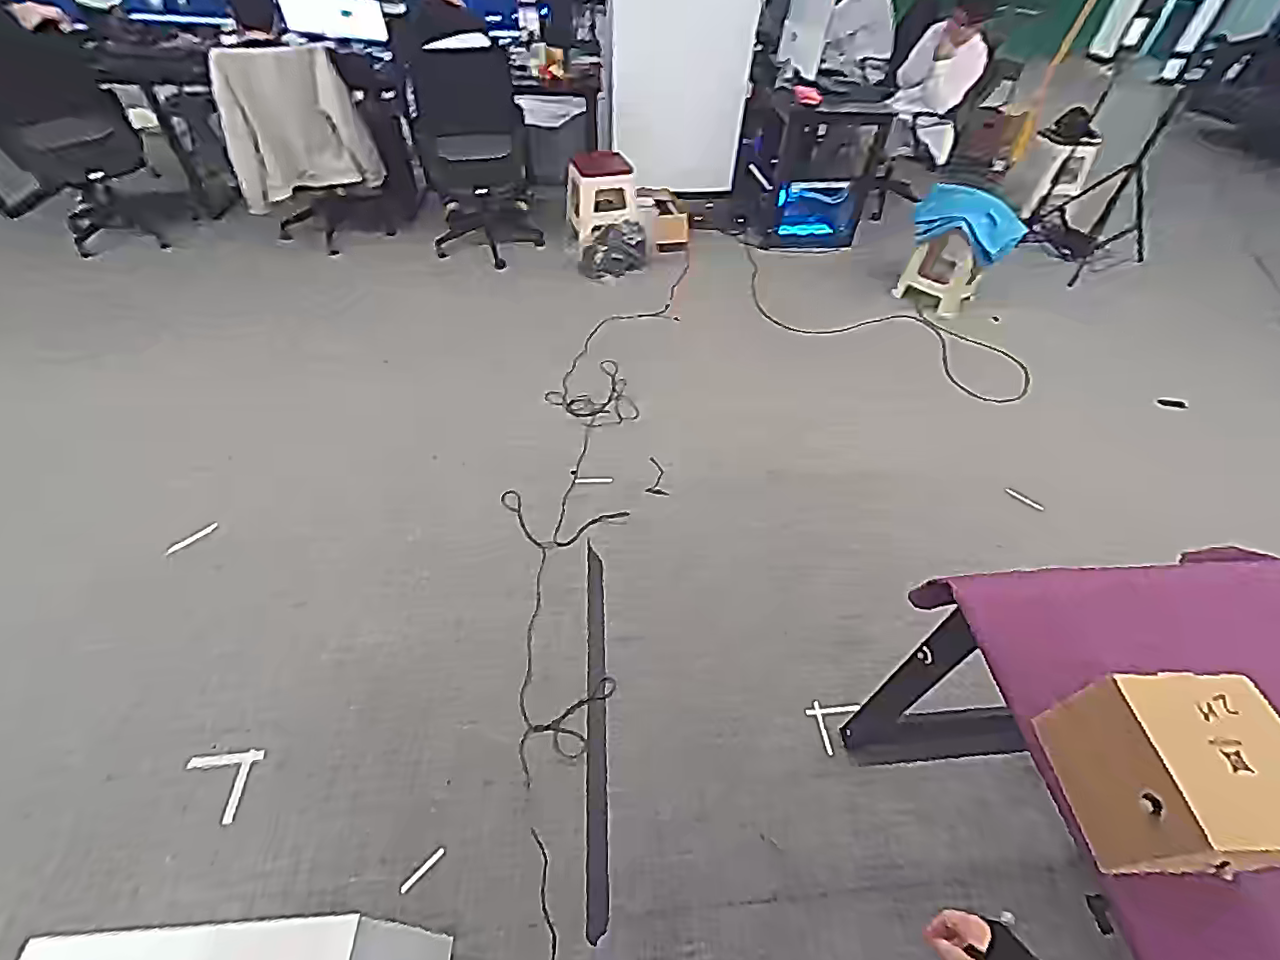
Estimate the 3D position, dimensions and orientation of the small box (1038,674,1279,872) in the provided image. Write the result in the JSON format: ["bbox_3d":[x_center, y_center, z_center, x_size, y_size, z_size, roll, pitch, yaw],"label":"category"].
[{"bbox_3d":[0.625,0.344,0.632,0.168,0.176,0.179,1,48,-2],"label":"small box"}]
